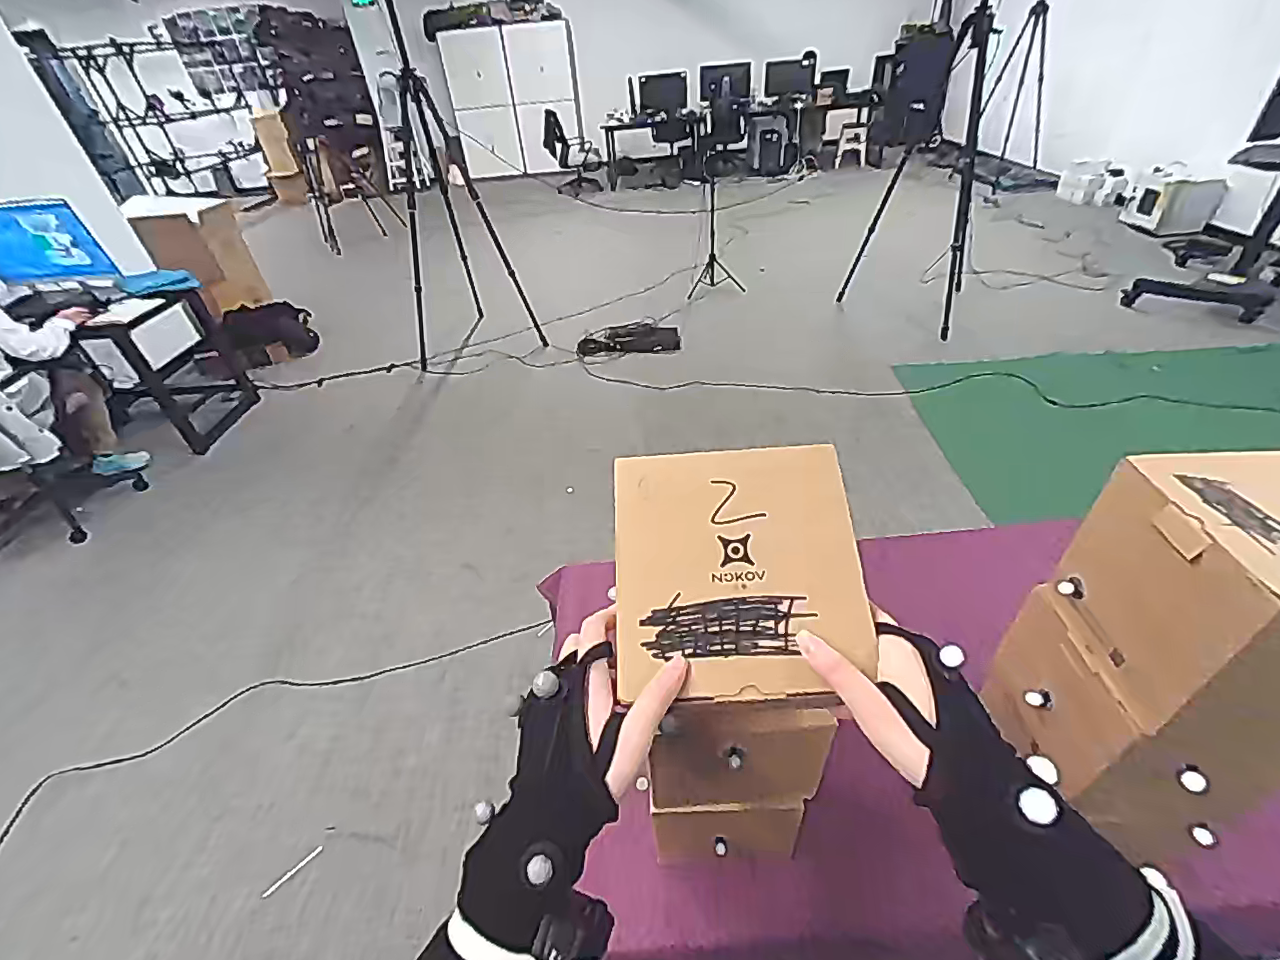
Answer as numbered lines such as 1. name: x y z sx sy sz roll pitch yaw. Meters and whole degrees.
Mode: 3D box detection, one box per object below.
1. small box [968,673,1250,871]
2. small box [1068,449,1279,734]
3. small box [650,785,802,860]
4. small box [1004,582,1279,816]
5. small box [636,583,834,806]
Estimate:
1. small box: 0.526 0.346 0.648 0.179 0.176 0.168 -4 39 2
2. small box: 0.499 0.091 0.442 0.179 0.176 0.168 -1 39 4
3. small box: 0.100 0.360 0.686 0.168 0.176 0.179 -3 39 3
4. small box: 0.504 0.219 0.546 0.179 0.176 0.168 -2 39 5
5. small box: 0.091 0.233 0.585 0.179 0.176 0.168 -4 40 2
